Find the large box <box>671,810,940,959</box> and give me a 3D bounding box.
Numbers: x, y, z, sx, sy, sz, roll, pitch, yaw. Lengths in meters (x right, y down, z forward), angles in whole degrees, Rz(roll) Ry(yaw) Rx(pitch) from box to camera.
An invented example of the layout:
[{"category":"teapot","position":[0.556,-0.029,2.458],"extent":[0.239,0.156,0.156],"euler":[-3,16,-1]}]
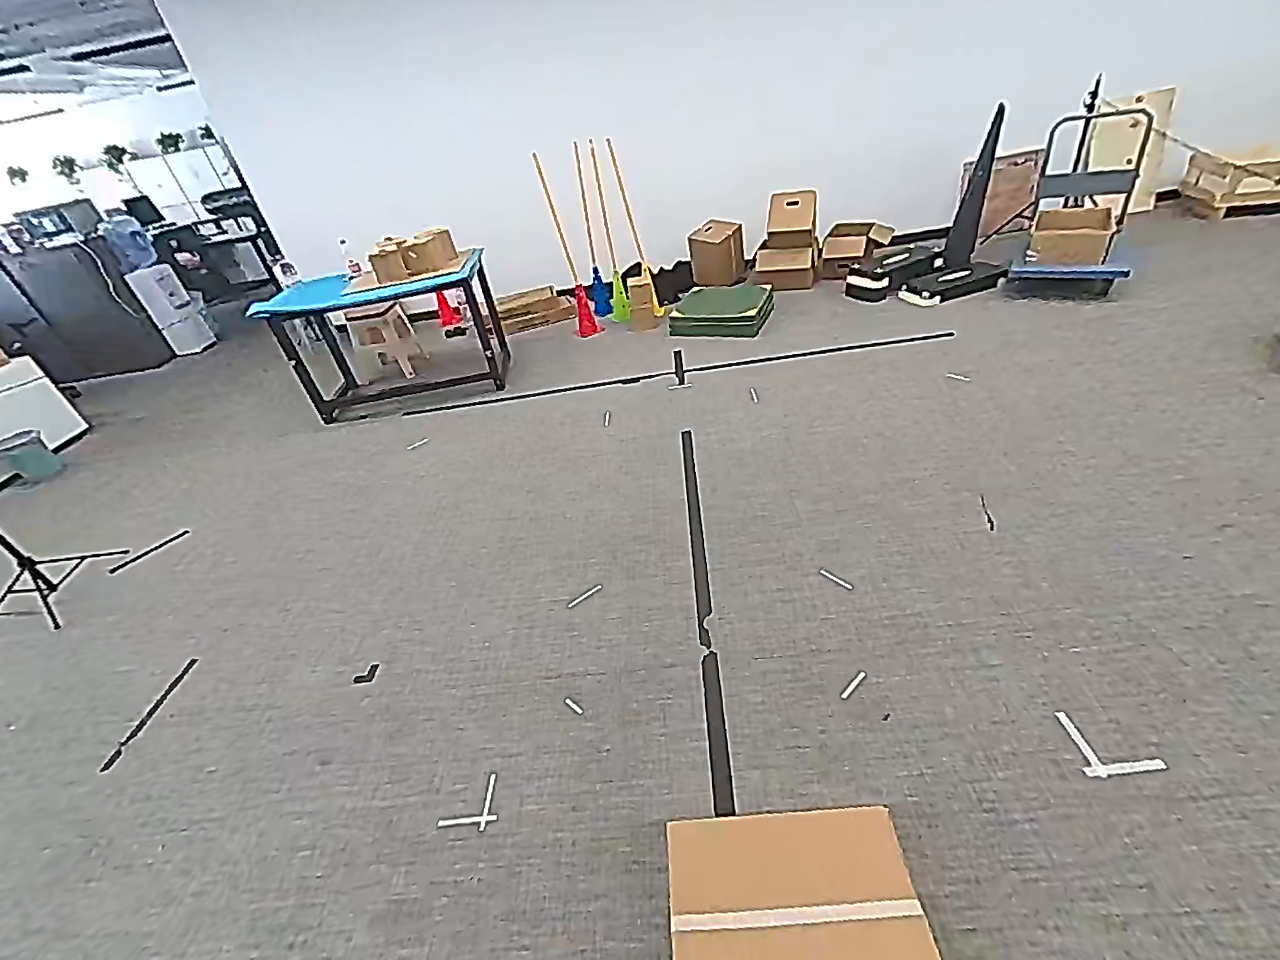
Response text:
[{"category":"large box","position":[0.281,0.836,0.960],"extent":[0.408,0.320,0.320],"euler":[-8,34,5]}]
